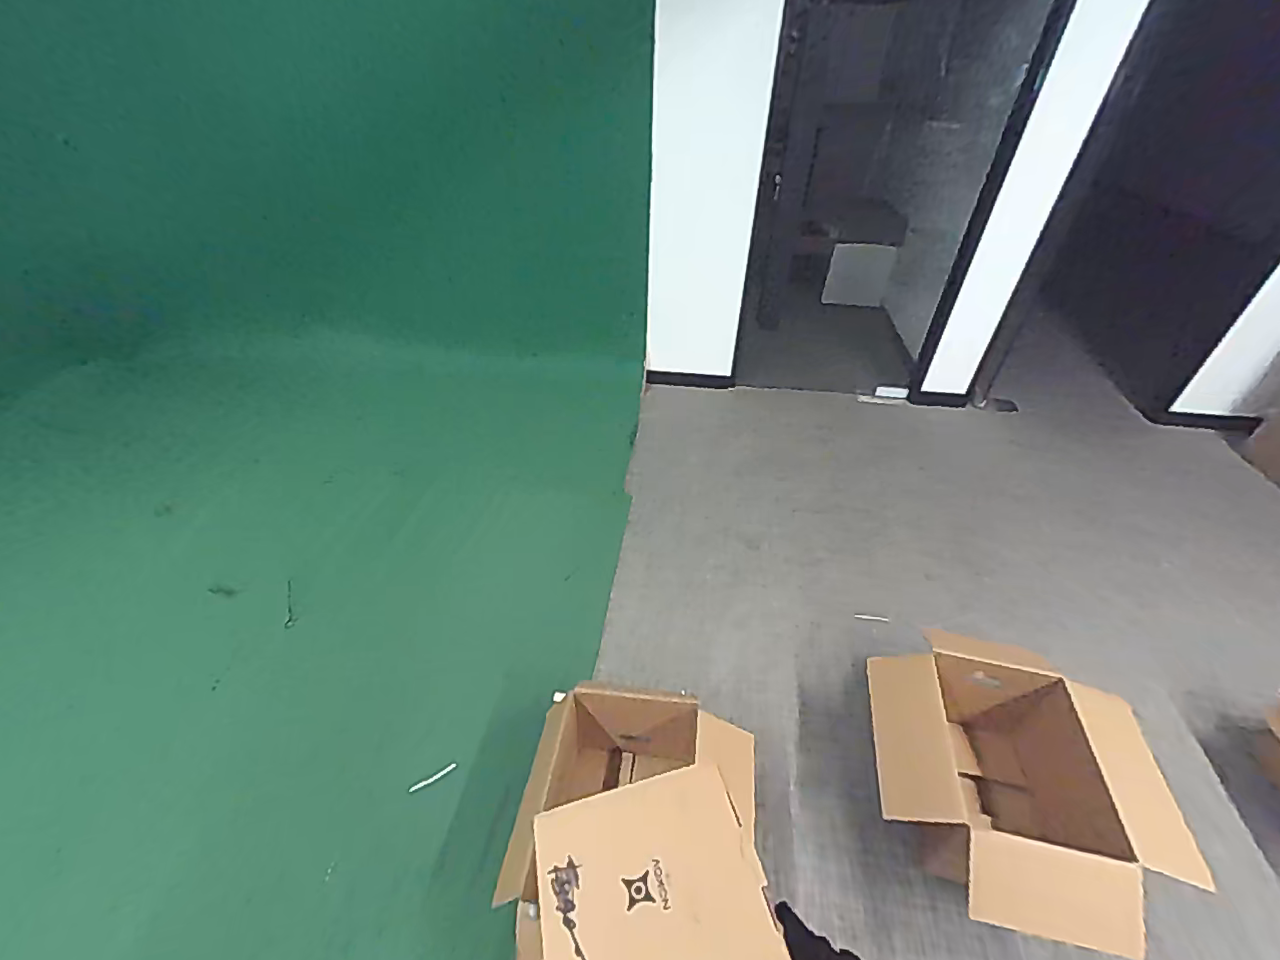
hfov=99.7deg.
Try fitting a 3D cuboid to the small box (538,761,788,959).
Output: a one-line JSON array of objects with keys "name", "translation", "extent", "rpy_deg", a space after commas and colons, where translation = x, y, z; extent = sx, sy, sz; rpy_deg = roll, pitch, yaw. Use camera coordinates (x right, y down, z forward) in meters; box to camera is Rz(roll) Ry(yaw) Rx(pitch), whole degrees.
[{"name": "small box", "translation": [0.013, 0.389, 0.478], "extent": [0.179, 0.176, 0.168], "rpy_deg": [-11, 34, -8]}]
